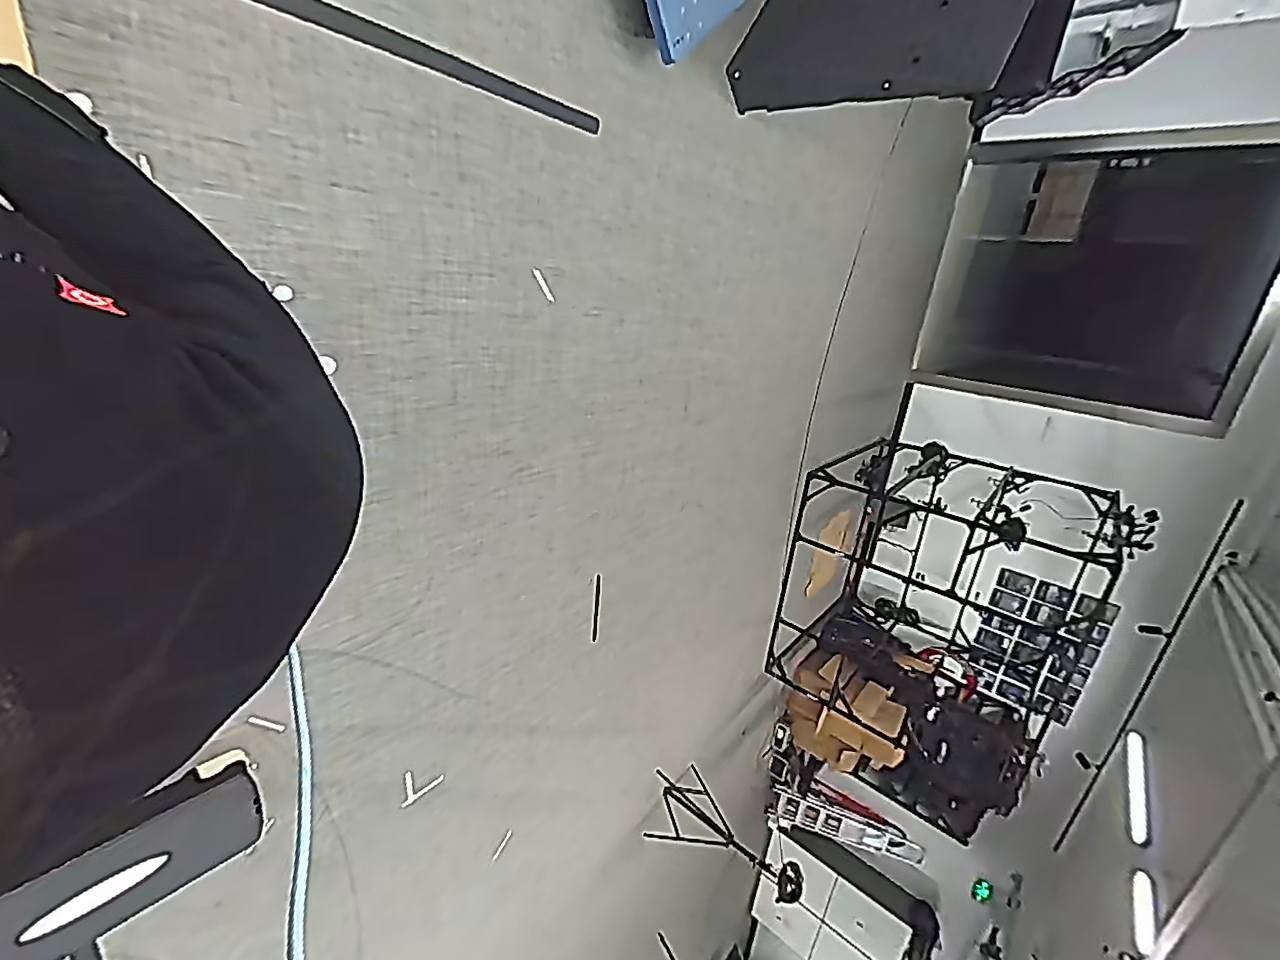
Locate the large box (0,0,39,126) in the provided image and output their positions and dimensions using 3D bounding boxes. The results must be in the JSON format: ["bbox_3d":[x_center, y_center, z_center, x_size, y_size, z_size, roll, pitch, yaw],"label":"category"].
[{"bbox_3d":[-1.063,-0.650,0.632,0.408,0.320,0.320,-21,124,-49],"label":"large box"}]
